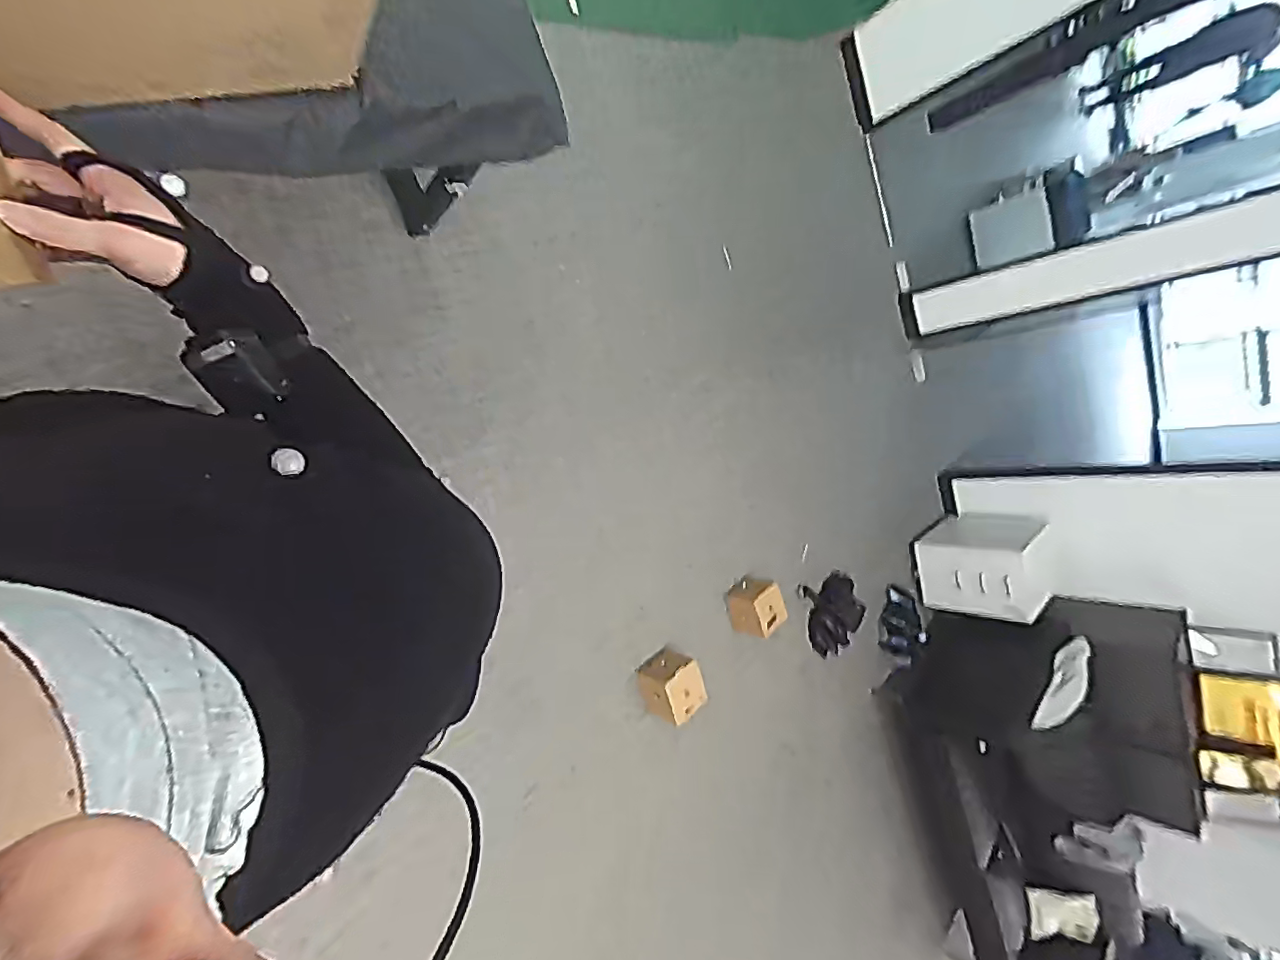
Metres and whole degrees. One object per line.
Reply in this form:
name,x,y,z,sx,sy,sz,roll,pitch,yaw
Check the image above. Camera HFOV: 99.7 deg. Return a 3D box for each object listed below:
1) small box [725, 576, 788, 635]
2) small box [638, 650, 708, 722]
small box,0.489,0.520,2.271,0.168,0.176,0.179,-30,106,-35
small box,0.116,0.744,1.980,0.168,0.176,0.179,-26,104,-35
